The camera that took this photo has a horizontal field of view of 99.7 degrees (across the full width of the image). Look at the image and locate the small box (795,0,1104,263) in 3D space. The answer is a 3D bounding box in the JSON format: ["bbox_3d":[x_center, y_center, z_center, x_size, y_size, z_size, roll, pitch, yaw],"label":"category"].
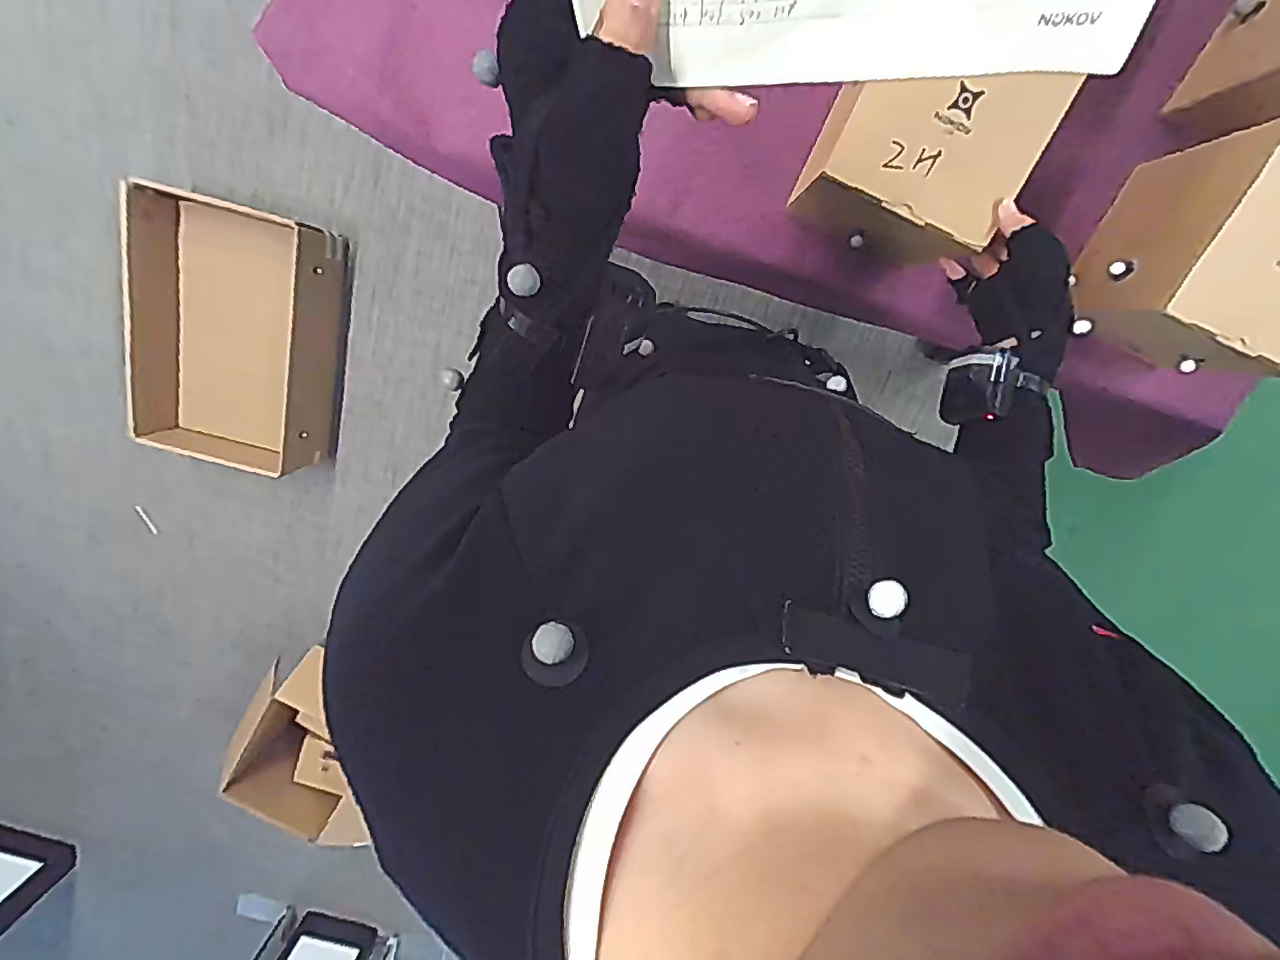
[{"bbox_3d":[0.274,-0.337,0.533,0.168,0.176,0.179,24,106,-4],"label":"small box"}]

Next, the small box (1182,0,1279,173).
[{"bbox_3d":[0.665,-0.410,0.487,0.168,0.176,0.179,25,107,-4],"label":"small box"}]
